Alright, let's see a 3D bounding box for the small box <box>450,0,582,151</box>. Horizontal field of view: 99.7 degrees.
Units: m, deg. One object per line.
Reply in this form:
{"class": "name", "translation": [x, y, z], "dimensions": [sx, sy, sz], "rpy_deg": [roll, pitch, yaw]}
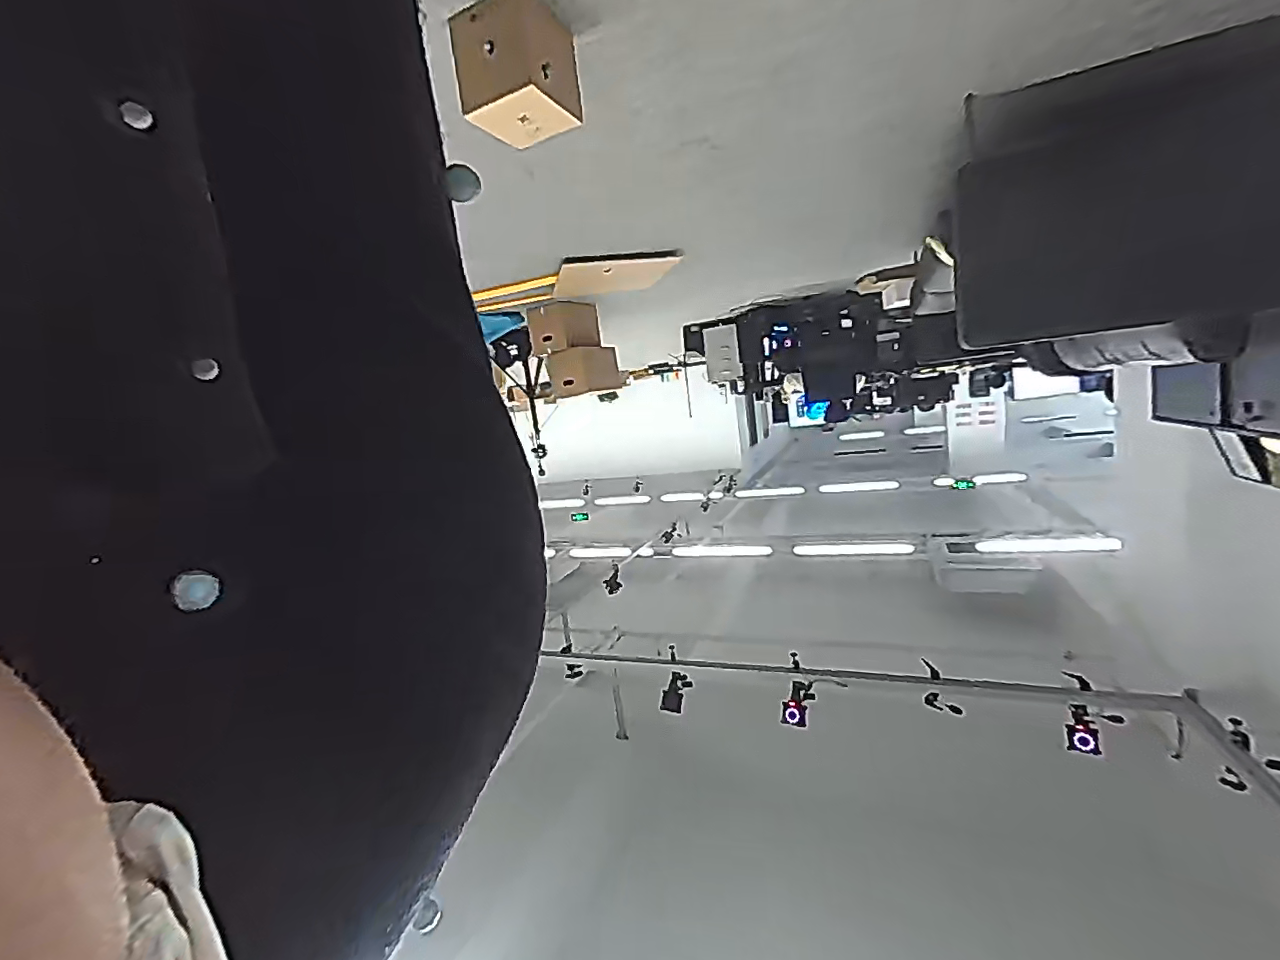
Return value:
{"class": "small box", "translation": [-0.236, -0.775, 1.036], "dimensions": [0.168, 0.176, 0.179], "rpy_deg": [-3, -170, 26]}
